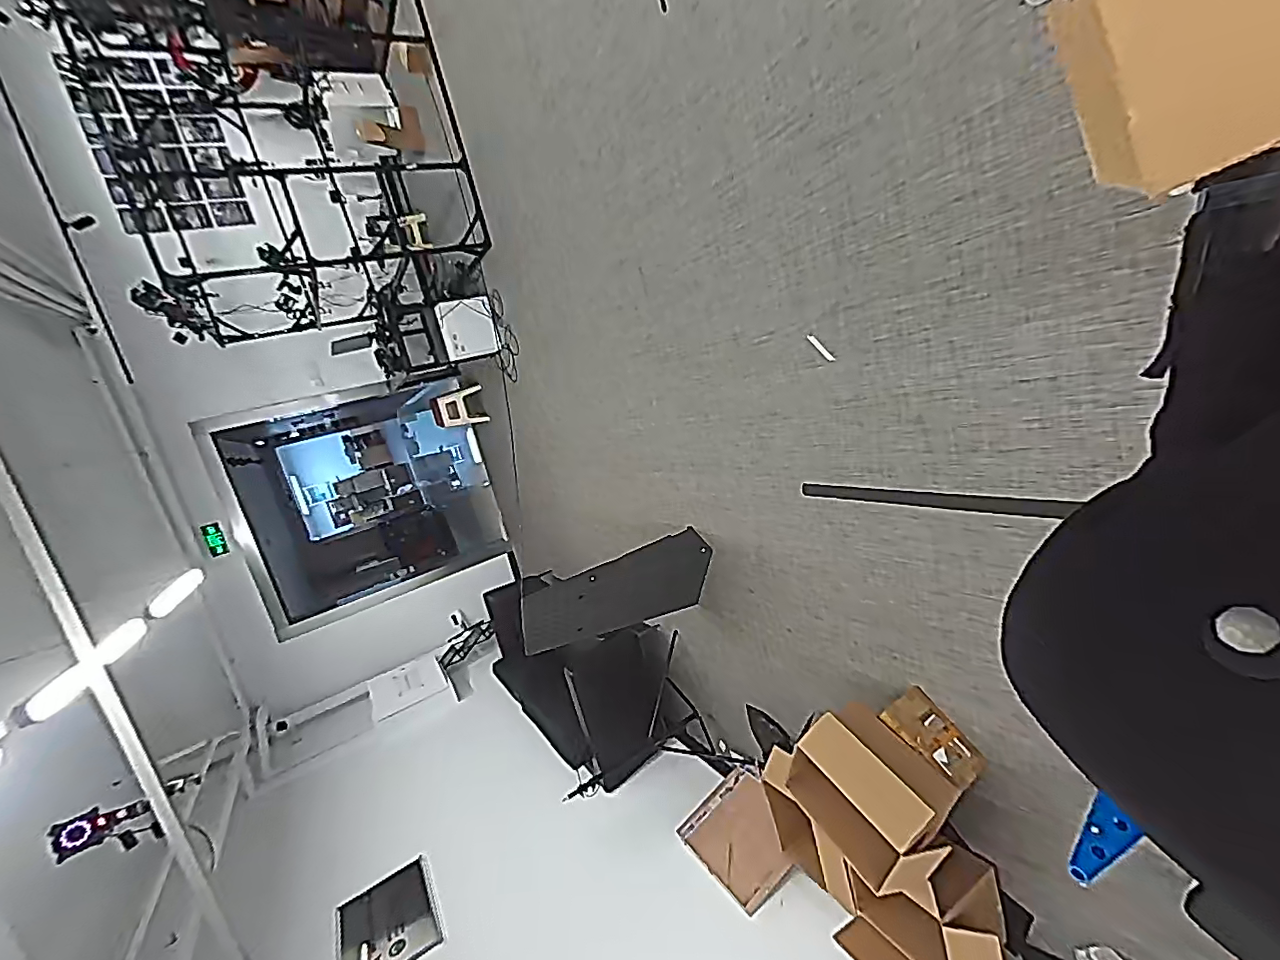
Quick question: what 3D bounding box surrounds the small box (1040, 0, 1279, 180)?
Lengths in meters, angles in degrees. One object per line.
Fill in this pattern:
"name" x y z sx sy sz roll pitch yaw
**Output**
"small box" 0.258 -0.242 0.204 0.168 0.176 0.179 -17 105 41
